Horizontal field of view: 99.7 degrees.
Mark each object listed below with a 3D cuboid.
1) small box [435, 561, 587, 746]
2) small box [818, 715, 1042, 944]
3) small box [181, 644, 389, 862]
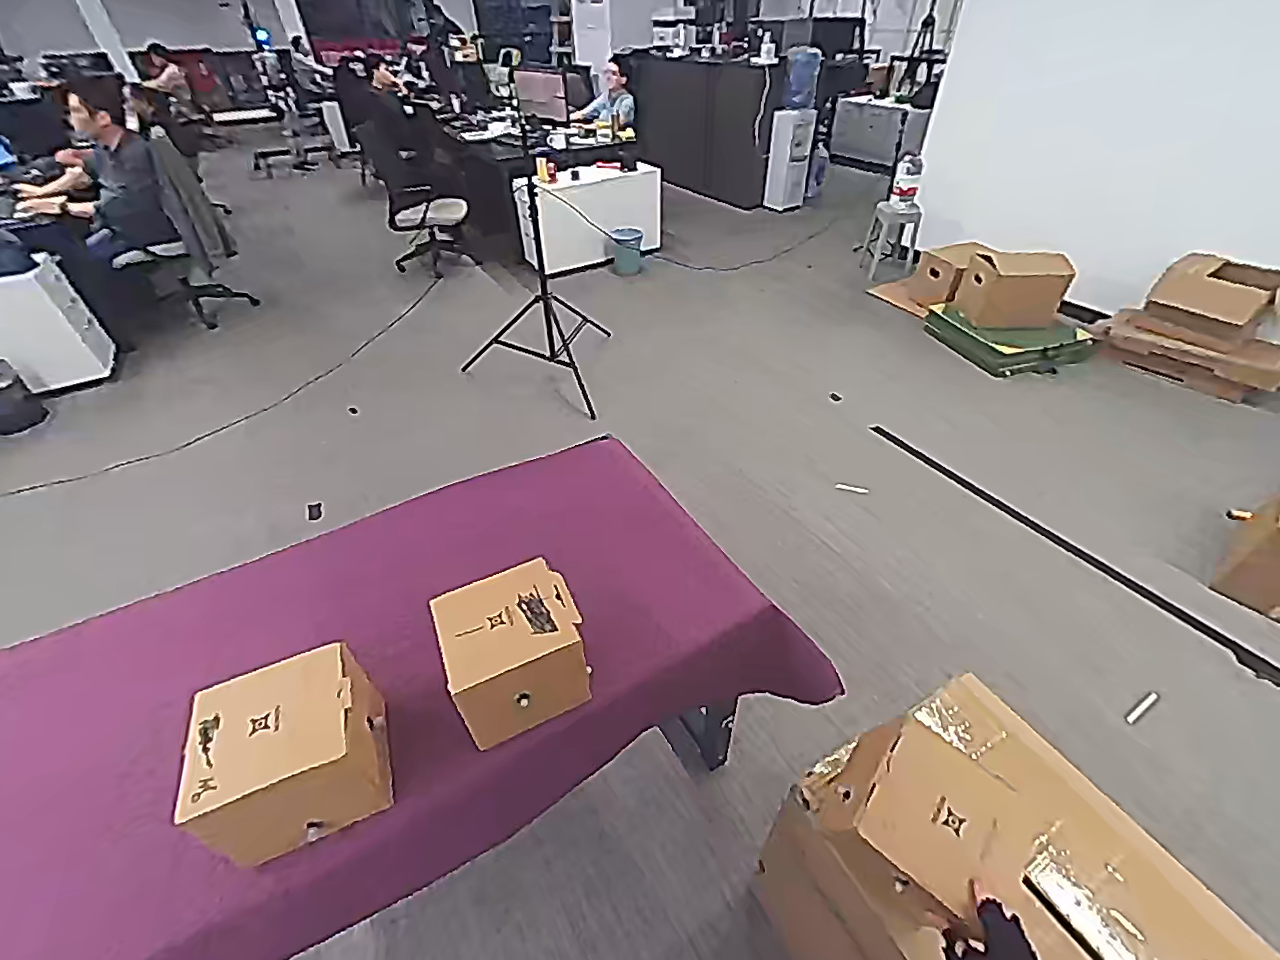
[{"bbox_3d":[-0.187,0.258,0.810,0.179,0.176,0.168,-19,43,-18],"label":"small box"},{"bbox_3d":[0.361,0.443,0.703,0.179,0.176,0.168,34,63,18],"label":"small box"},{"bbox_3d":[-0.442,0.354,0.708,0.179,0.176,0.168,-17,43,-18],"label":"small box"}]
